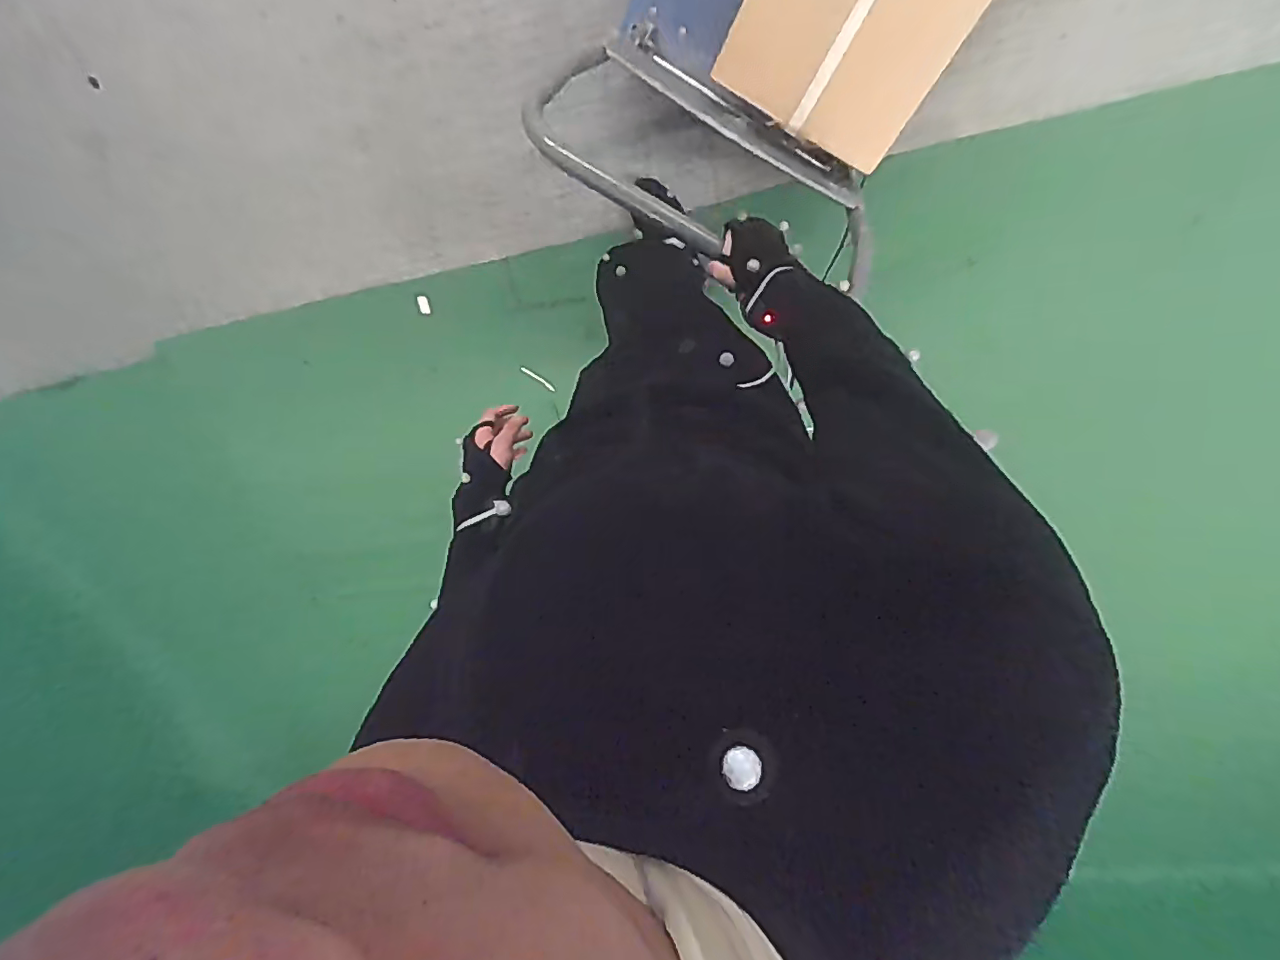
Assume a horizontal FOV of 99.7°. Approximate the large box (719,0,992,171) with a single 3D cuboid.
[{"bbox_3d":[0.370,-0.804,0.884,0.320,0.320,0.408,27,129,-9],"label":"large box"}]
